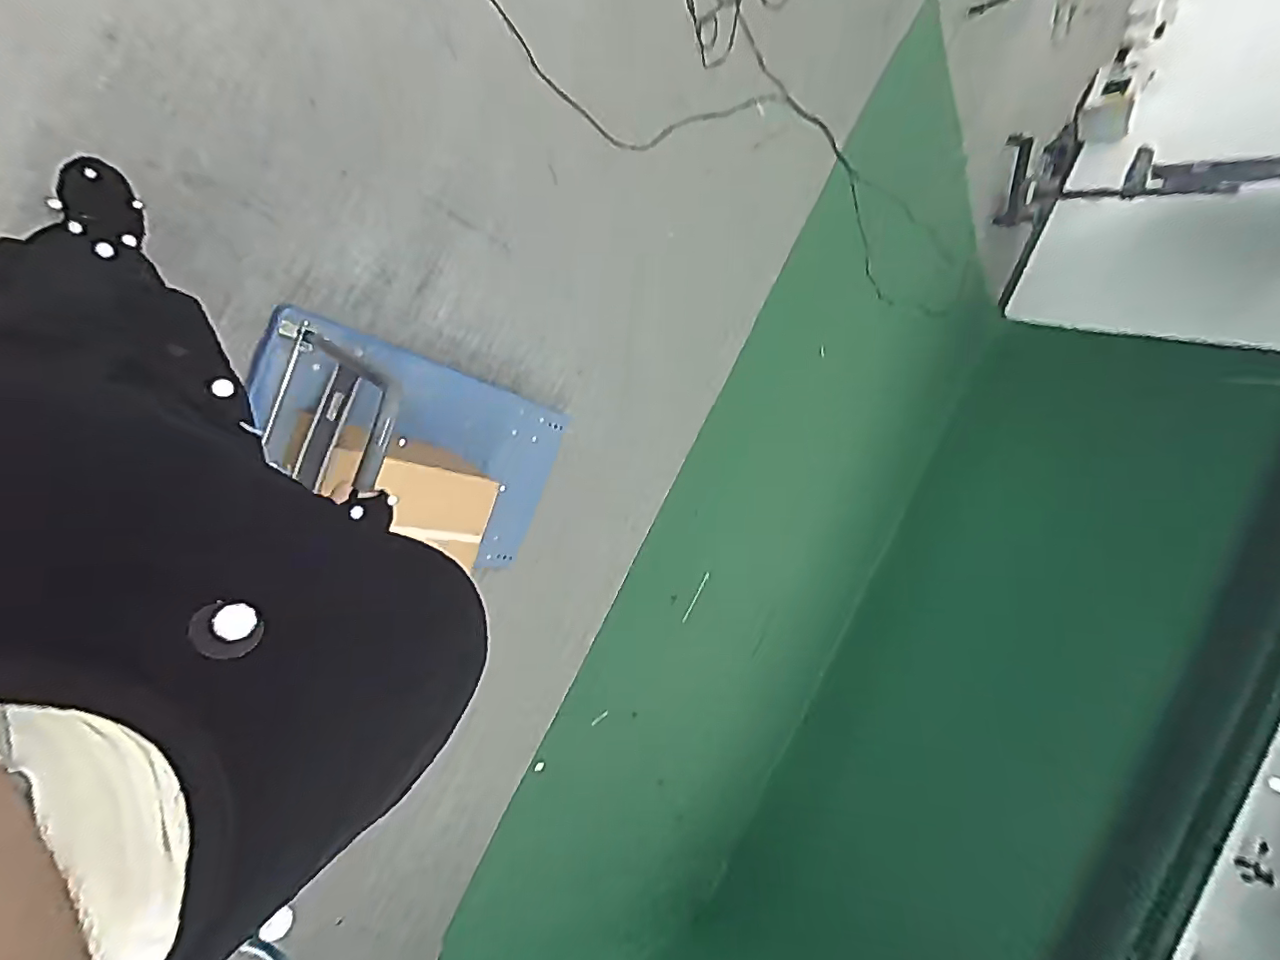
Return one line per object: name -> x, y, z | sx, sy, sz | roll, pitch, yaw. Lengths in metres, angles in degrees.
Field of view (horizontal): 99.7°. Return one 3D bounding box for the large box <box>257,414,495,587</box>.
large box -> -0.649, 0.057, 1.338 | 0.408, 0.320, 0.320 | 15, 98, -48
